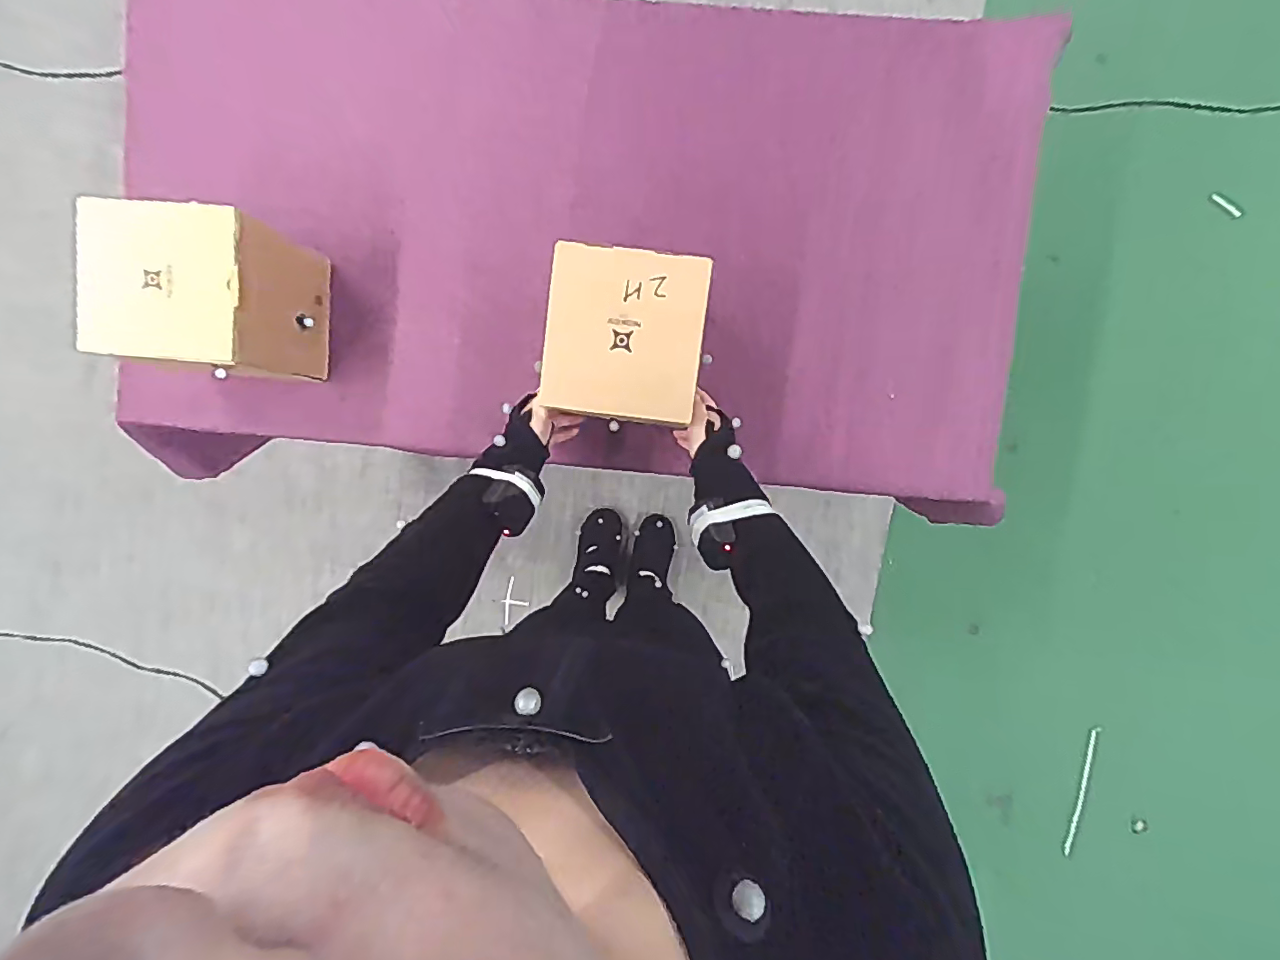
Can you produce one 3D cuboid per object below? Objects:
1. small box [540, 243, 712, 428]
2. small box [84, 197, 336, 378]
[{"bbox_3d":[-0.012,-0.158,0.647,0.168,0.176,0.179,7,94,2],"label":"small box"},{"bbox_3d":[-0.512,-0.222,0.664,0.179,0.176,0.168,4,93,1],"label":"small box"}]
